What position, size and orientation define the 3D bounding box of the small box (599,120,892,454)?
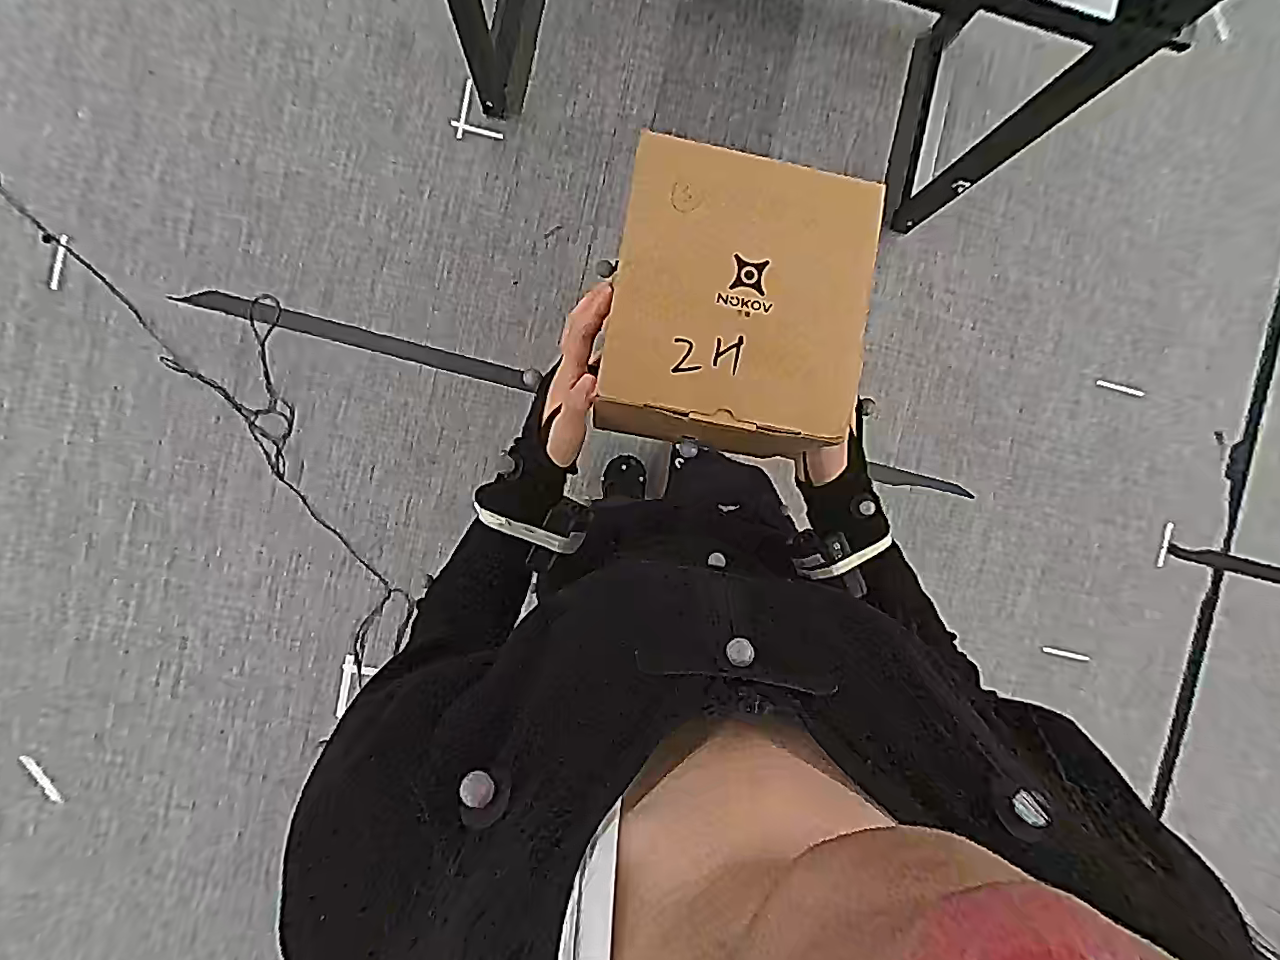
[{"bbox_3d":[0.062,-0.123,0.418,0.168,0.176,0.179,10,88,-5],"label":"small box"}]
